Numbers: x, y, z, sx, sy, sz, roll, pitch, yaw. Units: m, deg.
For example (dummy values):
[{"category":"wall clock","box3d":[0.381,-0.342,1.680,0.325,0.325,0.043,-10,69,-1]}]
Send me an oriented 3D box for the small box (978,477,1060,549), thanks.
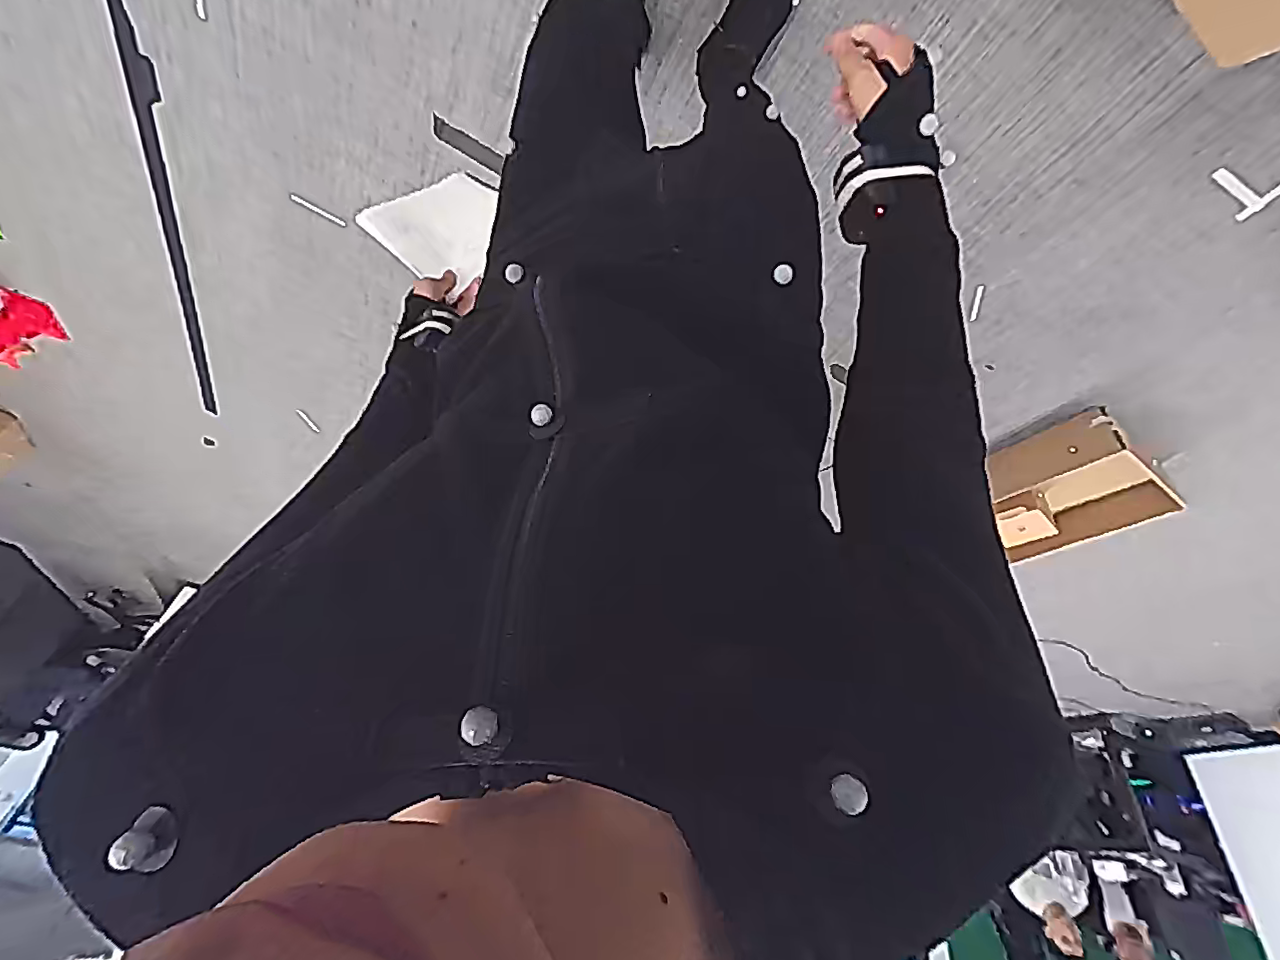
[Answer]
[{"category":"small box","box3d":[1.304,0.108,1.869,0.179,0.176,0.168,35,136,-26]}]
